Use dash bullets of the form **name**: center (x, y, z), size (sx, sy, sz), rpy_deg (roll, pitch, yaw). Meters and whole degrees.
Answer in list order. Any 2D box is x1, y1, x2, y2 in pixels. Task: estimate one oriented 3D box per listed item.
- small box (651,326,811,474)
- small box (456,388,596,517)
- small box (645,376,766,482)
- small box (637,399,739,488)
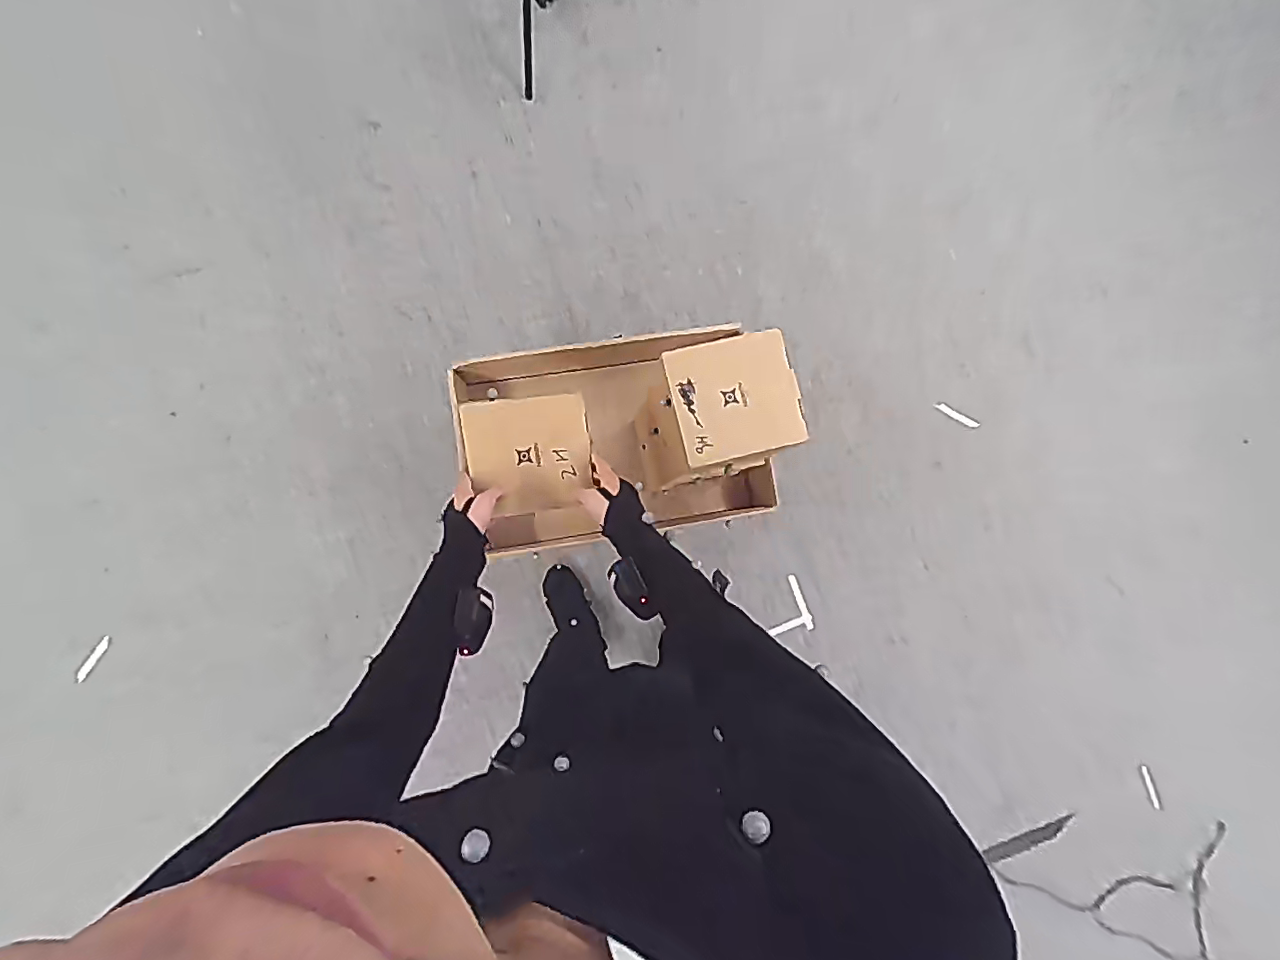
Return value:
- **small box**: center (0.124, -0.110, 0.805), size (0.179, 0.176, 0.168), rpy_deg (-13, 86, -6)
- **small box**: center (-0.170, -0.049, 0.828), size (0.179, 0.176, 0.168), rpy_deg (-8, 101, -11)
- **small box**: center (0.109, -0.094, 0.968), size (0.168, 0.176, 0.179), rpy_deg (-11, 86, -6)
- **small box**: center (0.094, -0.081, 1.129), size (0.168, 0.176, 0.179), rpy_deg (-12, 86, -6)
